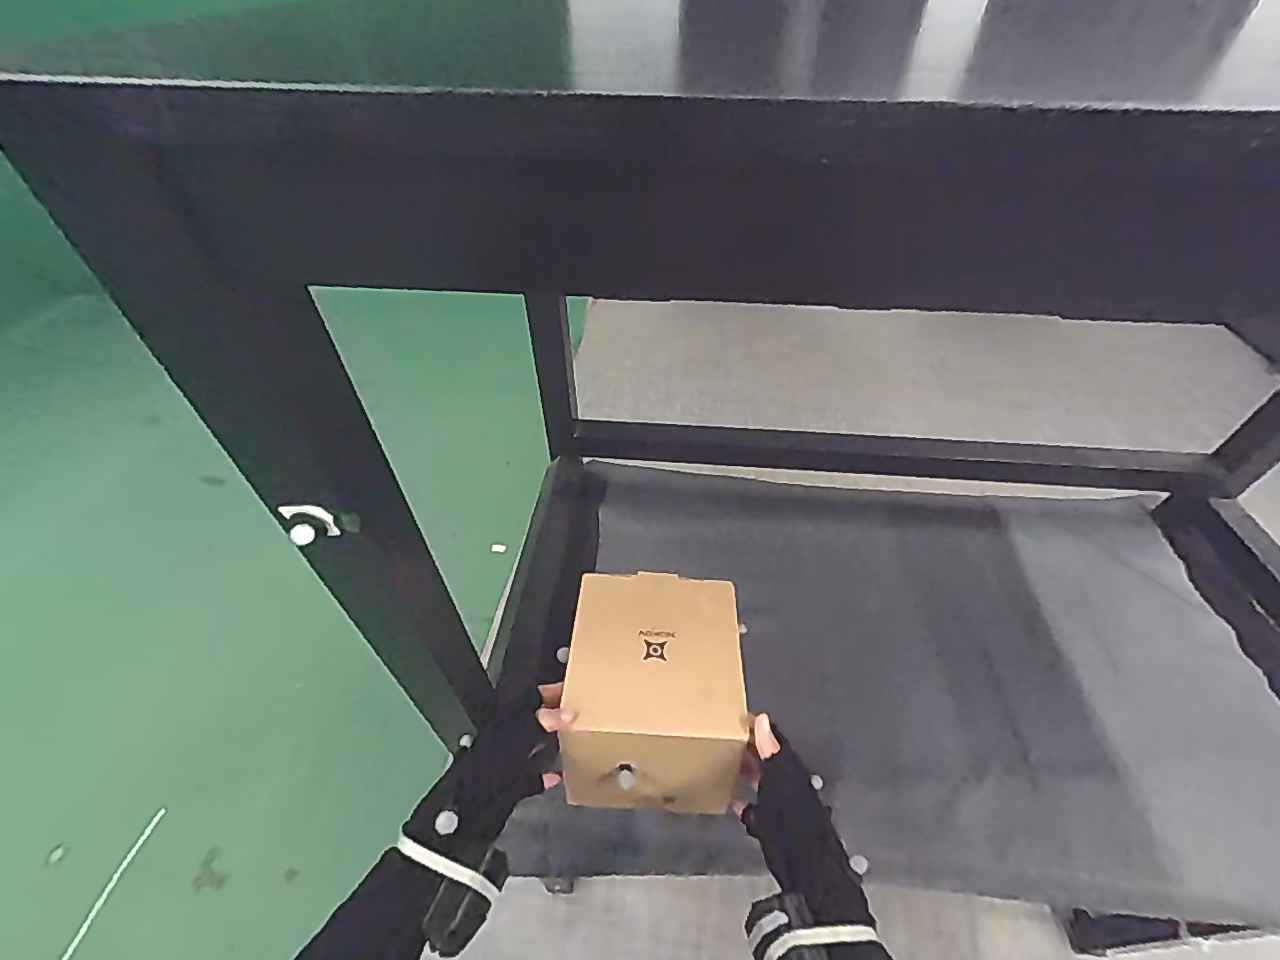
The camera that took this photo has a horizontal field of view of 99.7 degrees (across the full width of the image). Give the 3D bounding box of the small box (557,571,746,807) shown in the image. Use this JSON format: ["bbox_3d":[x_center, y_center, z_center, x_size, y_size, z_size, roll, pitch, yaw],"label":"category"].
[{"bbox_3d":[0.014,0.220,0.571,0.168,0.176,0.179,3,39,1],"label":"small box"}]
